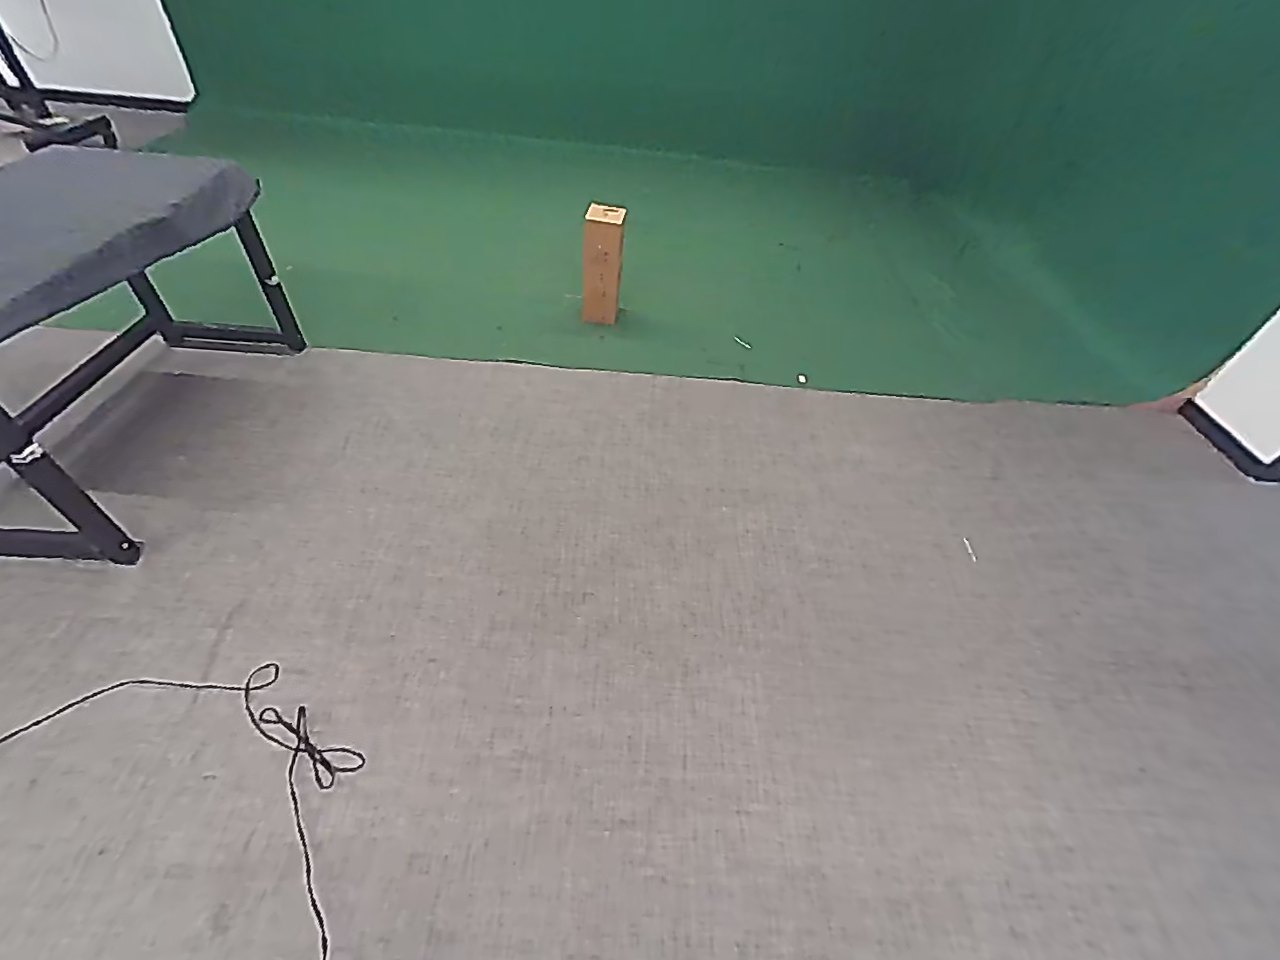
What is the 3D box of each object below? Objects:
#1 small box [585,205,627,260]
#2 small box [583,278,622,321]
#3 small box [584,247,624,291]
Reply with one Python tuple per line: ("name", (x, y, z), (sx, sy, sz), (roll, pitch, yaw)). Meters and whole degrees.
("small box", (-0.159, -1.142, 2.497), (0.168, 0.176, 0.179), (9, 47, 1))
("small box", (-0.190, -0.923, 2.714), (0.168, 0.176, 0.179), (10, 46, 0))
("small box", (-0.173, -1.028, 2.617), (0.168, 0.176, 0.179), (9, 47, 0))
